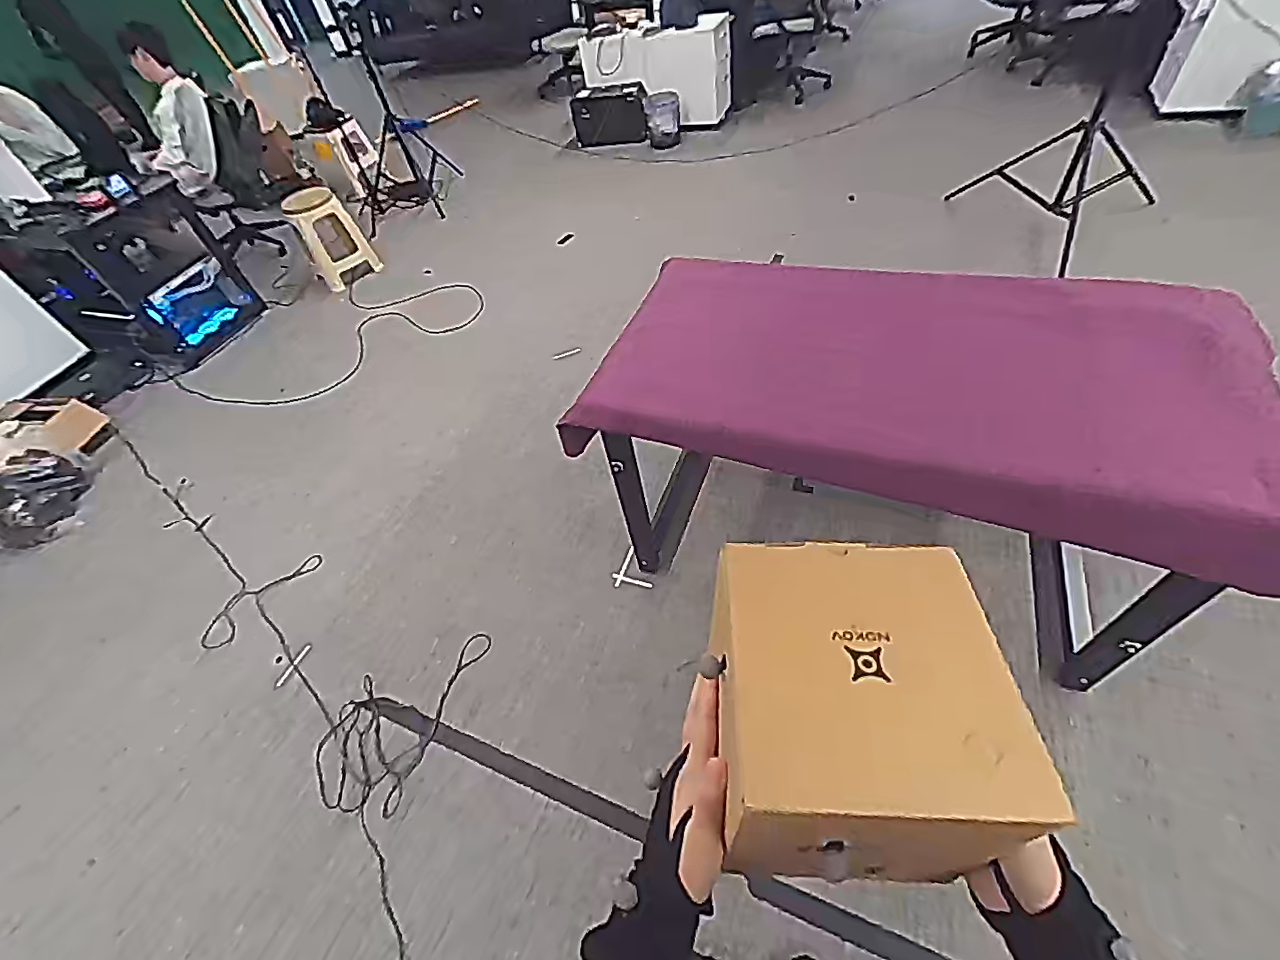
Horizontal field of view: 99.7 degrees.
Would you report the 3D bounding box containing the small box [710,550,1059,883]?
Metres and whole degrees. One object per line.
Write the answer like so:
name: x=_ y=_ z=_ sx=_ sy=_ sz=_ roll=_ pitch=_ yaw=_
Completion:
small box: x=0.140 y=0.171 z=0.393 sx=0.168 sy=0.176 sz=0.179 roll=1 pitch=44 yaw=3
